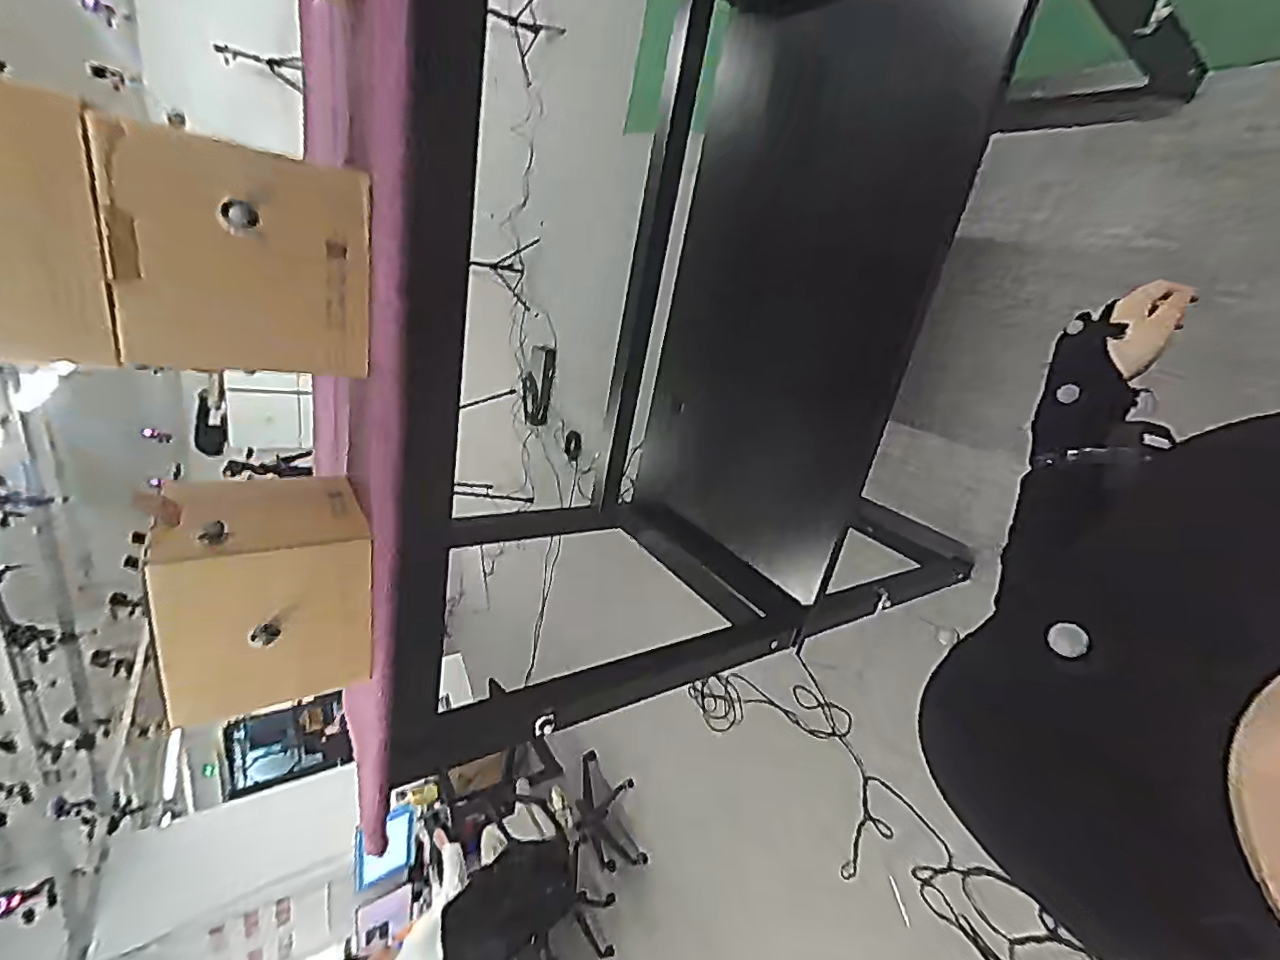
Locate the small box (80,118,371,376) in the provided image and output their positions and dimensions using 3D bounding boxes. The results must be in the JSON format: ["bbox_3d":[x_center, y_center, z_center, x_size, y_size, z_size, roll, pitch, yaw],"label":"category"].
[{"bbox_3d":[-0.341,-0.193,0.474,0.179,0.176,0.168,38,122,48],"label":"small box"}]

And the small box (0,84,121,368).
[{"bbox_3d":[-0.476,-0.185,0.380,0.168,0.176,0.179,37,122,46],"label":"small box"}]
